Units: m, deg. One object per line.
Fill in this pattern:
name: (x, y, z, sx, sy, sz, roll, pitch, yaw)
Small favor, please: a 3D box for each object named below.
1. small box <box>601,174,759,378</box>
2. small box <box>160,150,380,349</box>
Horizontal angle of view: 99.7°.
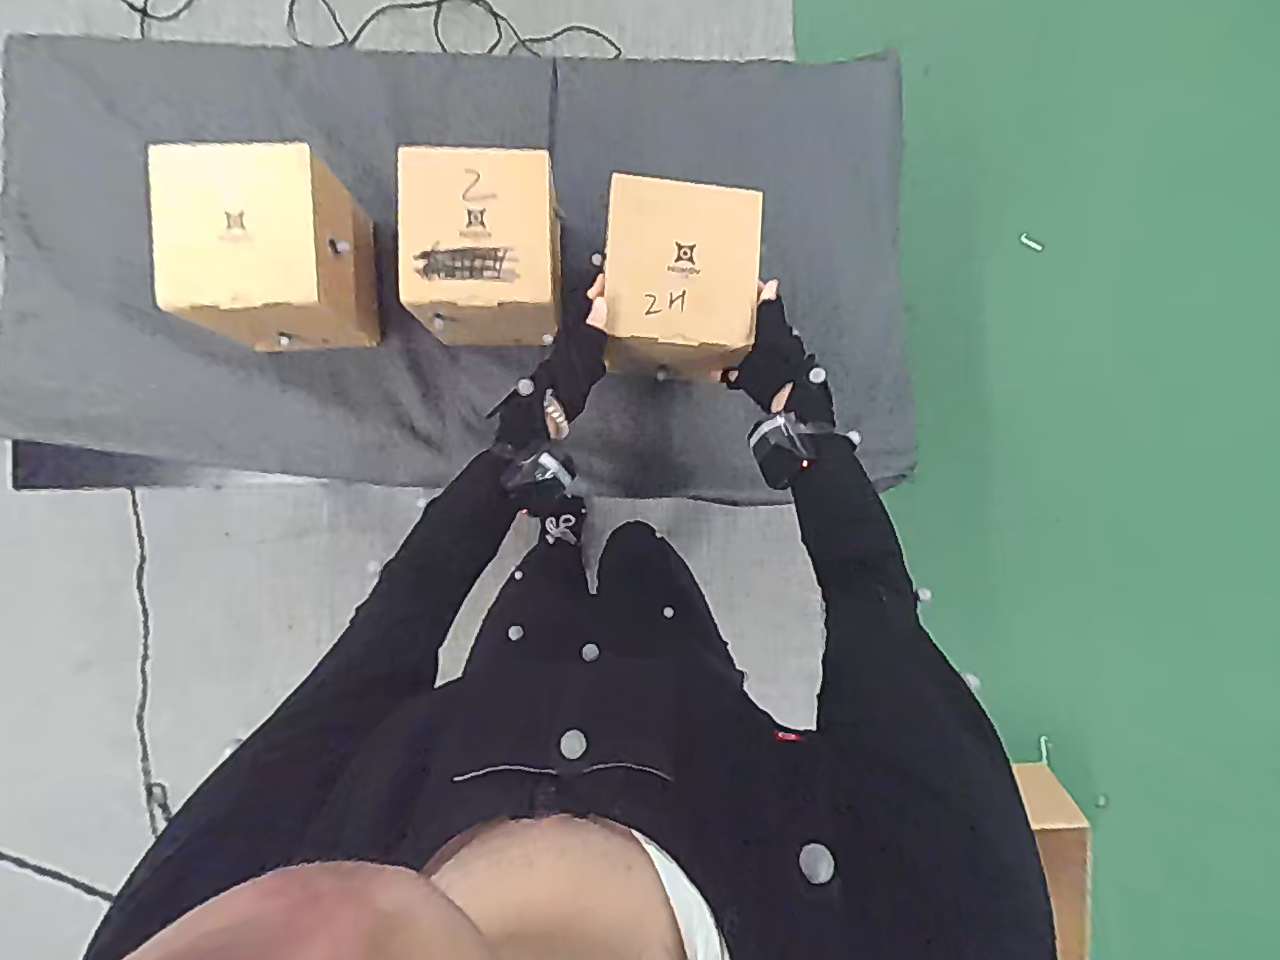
small box: (0.039, -0.237, 0.669, 0.168, 0.176, 0.179, 4, 87, -4)
small box: (-0.439, -0.272, 0.668, 0.168, 0.176, 0.179, -4, 89, -5)
